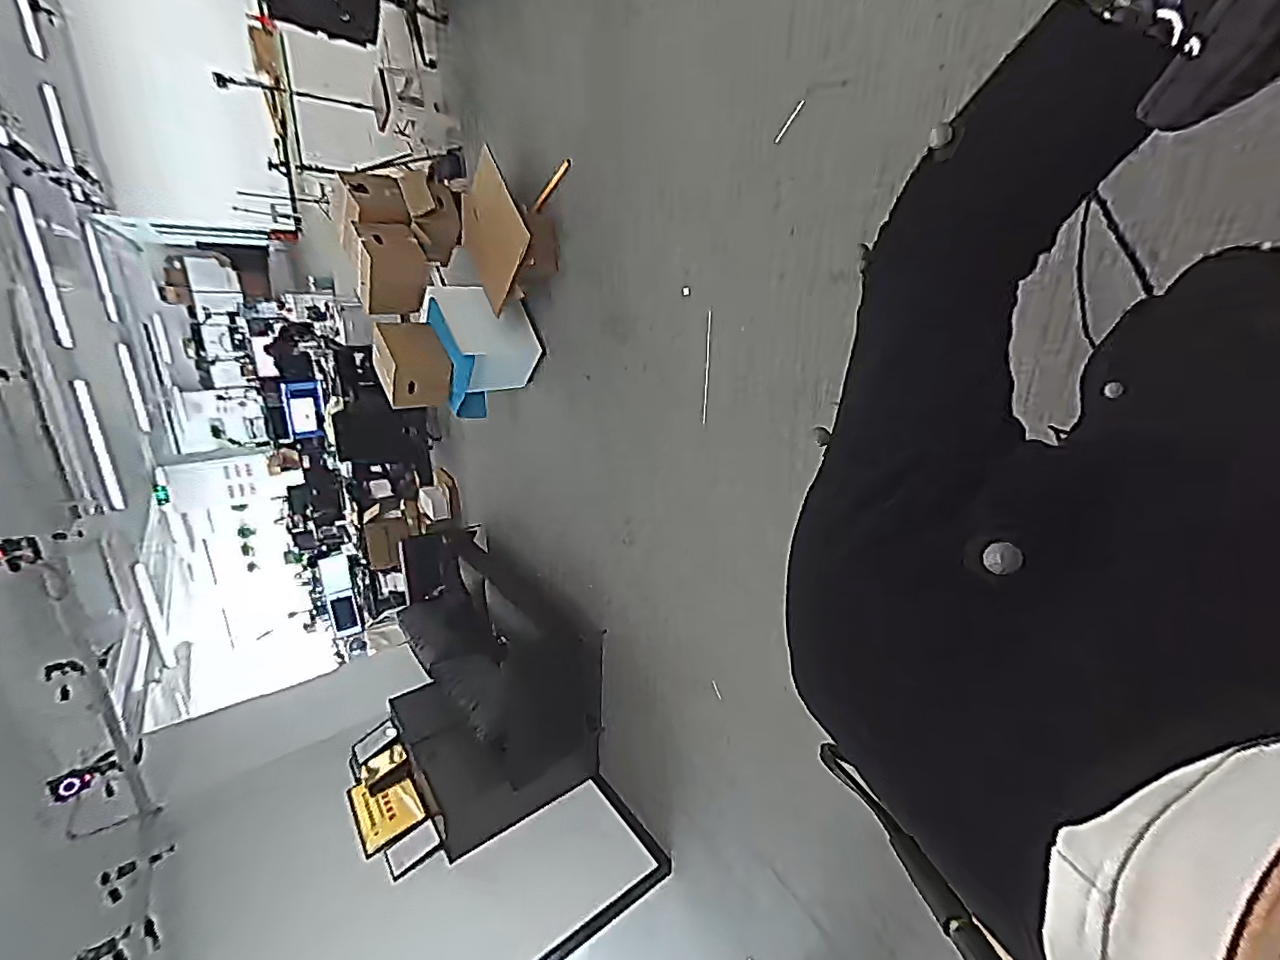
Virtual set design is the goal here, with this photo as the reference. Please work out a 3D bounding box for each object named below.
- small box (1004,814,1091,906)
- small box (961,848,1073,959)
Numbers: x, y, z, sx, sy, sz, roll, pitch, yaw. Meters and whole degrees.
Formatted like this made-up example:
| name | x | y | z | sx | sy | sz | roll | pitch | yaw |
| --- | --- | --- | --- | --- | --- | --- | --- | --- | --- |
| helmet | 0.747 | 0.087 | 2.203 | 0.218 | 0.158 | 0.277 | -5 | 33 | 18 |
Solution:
| name | x | y | z | sx | sy | sz | roll | pitch | yaw |
| --- | --- | --- | --- | --- | --- | --- | --- | --- | --- |
| small box | 1.092 | 1.068 | 1.476 | 0.168 | 0.176 | 0.179 | 29 | 123 | 46 |
| small box | 0.962 | 1.099 | 1.379 | 0.179 | 0.176 | 0.168 | 23 | 118 | 48 |
